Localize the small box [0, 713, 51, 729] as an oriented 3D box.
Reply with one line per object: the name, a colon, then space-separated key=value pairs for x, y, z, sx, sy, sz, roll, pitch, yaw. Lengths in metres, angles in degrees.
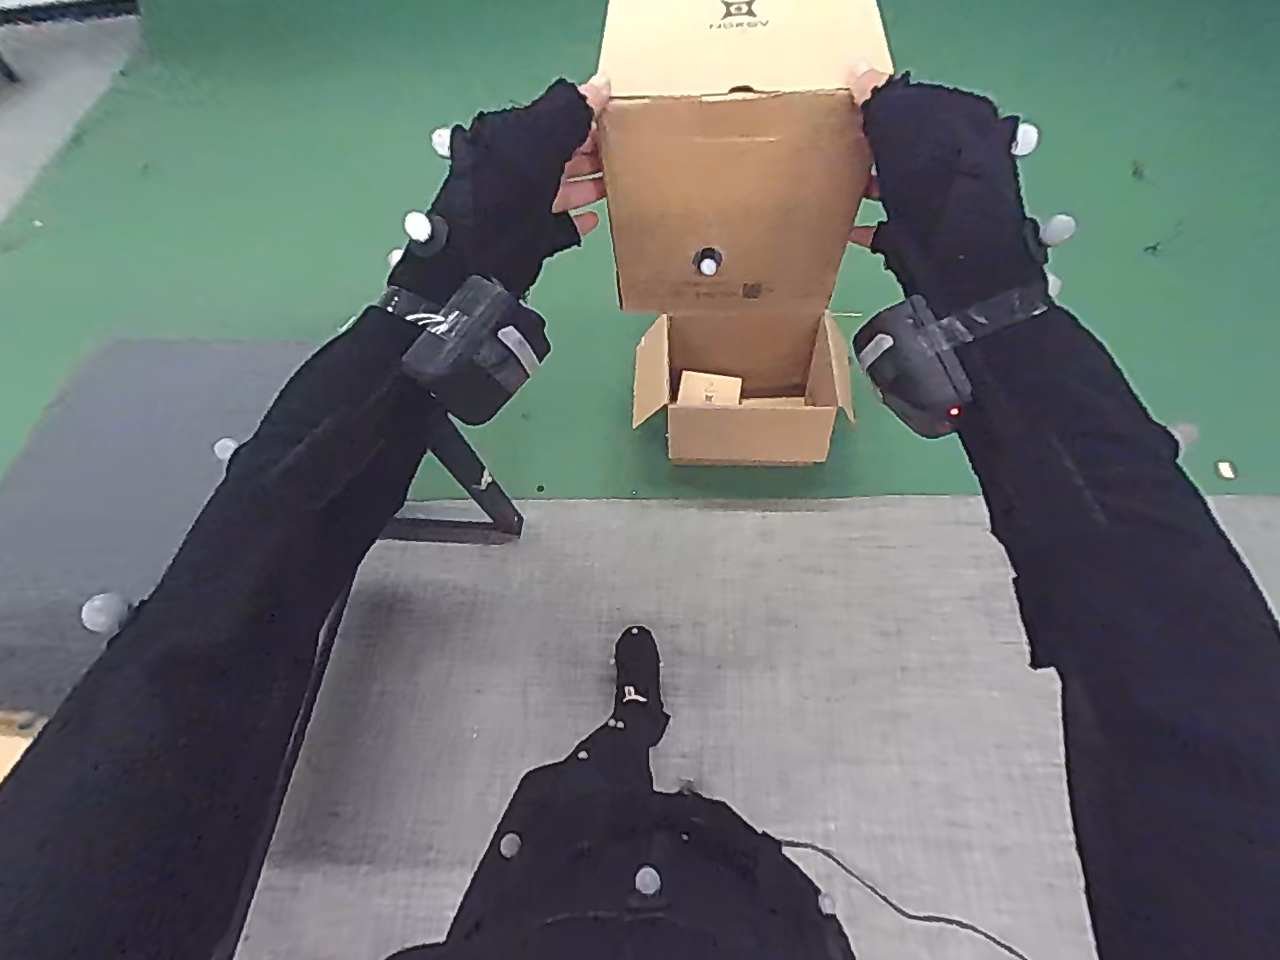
small box: x=-0.813 y=0.330 z=0.570 sx=0.179 sy=0.176 sz=0.168 roll=5 pitch=65 yaw=7

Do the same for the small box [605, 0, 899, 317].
small box: x=0.070 y=-0.248 z=0.407 sx=0.168 sy=0.176 sz=0.179 roll=1 pitch=65 yaw=5
